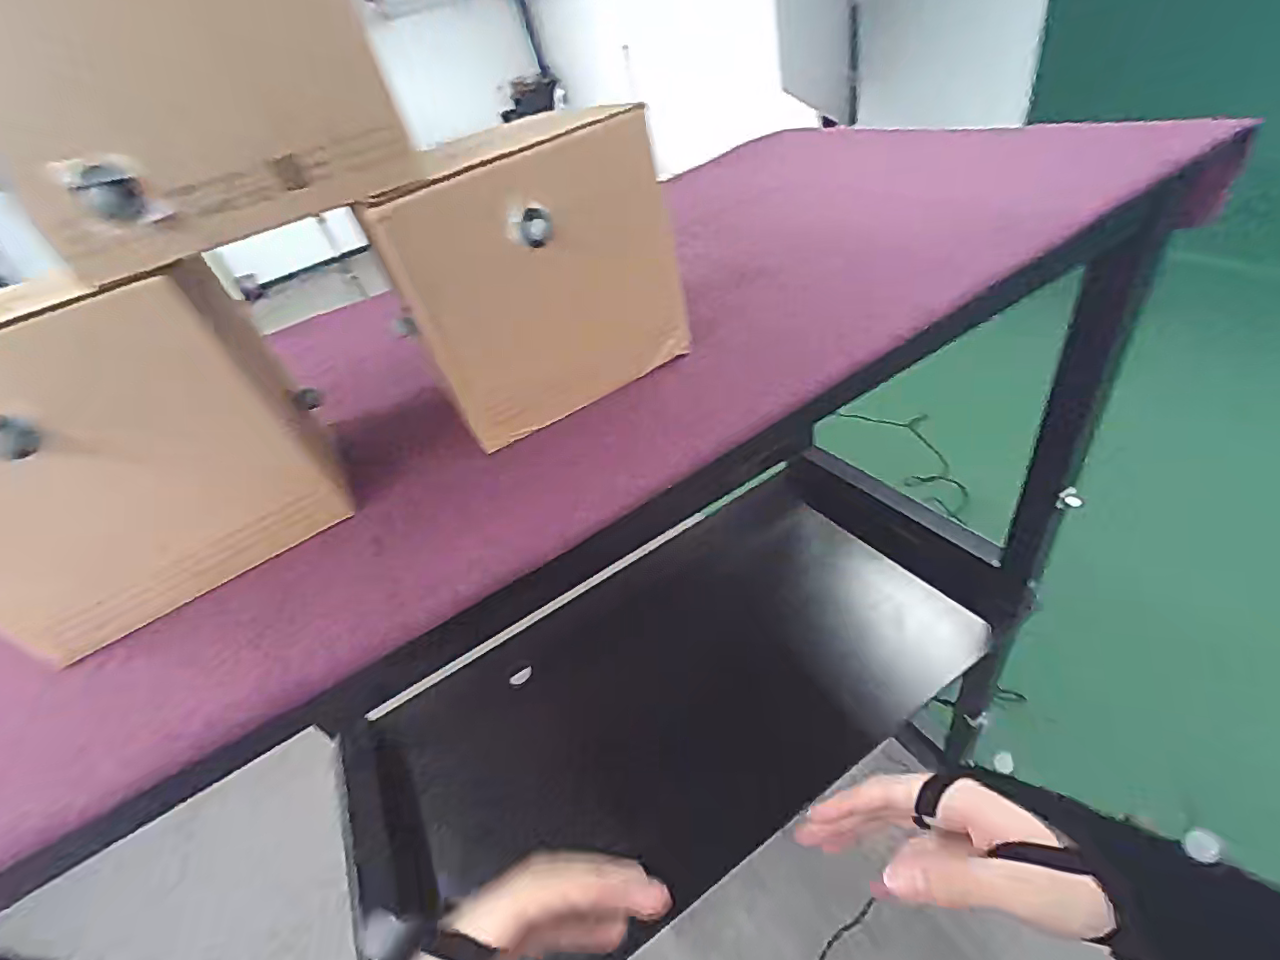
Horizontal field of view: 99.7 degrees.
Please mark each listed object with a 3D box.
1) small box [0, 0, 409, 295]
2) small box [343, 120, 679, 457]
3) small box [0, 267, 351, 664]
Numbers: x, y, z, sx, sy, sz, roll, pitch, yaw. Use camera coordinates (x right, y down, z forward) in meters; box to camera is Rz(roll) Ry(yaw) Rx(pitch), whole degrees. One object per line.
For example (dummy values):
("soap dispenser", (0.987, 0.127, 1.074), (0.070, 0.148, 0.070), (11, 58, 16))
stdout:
("small box", (-0.243, -0.214, 0.283), (0.168, 0.176, 0.179), (-28, 39, -14))
("small box", (-0.093, -0.145, 0.407), (0.179, 0.176, 0.168), (-30, 40, -15))
("small box", (-0.322, -0.021, 0.343), (0.179, 0.176, 0.168), (-31, 41, -16))
